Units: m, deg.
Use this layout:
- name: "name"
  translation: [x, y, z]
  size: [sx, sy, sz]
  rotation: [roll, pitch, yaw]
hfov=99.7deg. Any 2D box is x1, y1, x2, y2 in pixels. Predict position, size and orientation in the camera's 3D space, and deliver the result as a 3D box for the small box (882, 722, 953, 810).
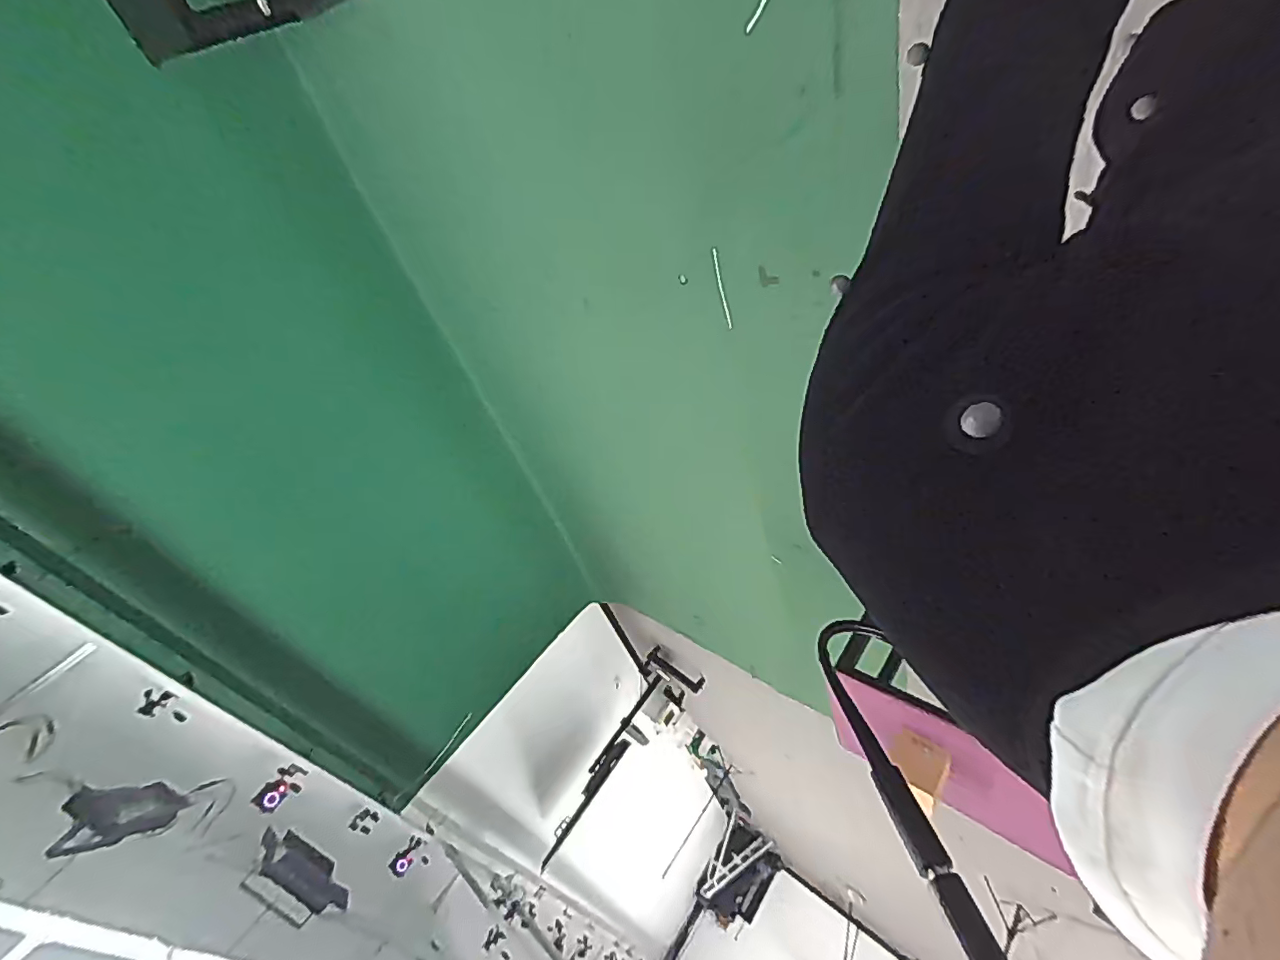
- name: "small box"
  translation: [0.923, 0.947, 1.799]
  size: [0.168, 0.176, 0.179]
  rotation: [18, 144, 39]
